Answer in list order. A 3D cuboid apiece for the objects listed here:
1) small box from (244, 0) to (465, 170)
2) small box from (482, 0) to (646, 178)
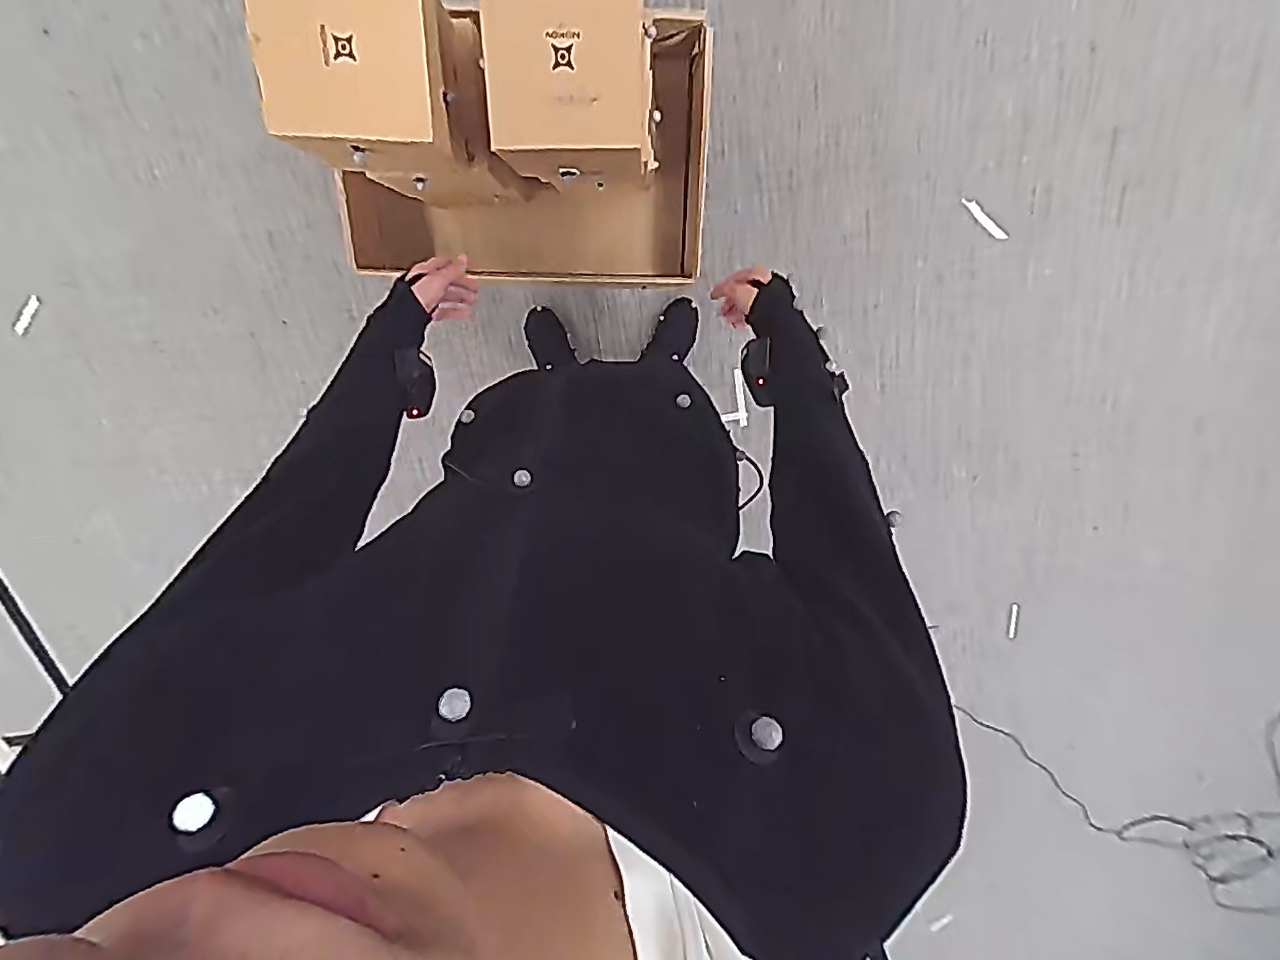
[{"bbox_3d":[-0.307,-0.466,0.620,0.179,0.176,0.168,0,109,-3],"label":"small box"},{"bbox_3d":[-0.077,-0.465,0.625,0.168,0.176,0.179,0,109,1],"label":"small box"}]
